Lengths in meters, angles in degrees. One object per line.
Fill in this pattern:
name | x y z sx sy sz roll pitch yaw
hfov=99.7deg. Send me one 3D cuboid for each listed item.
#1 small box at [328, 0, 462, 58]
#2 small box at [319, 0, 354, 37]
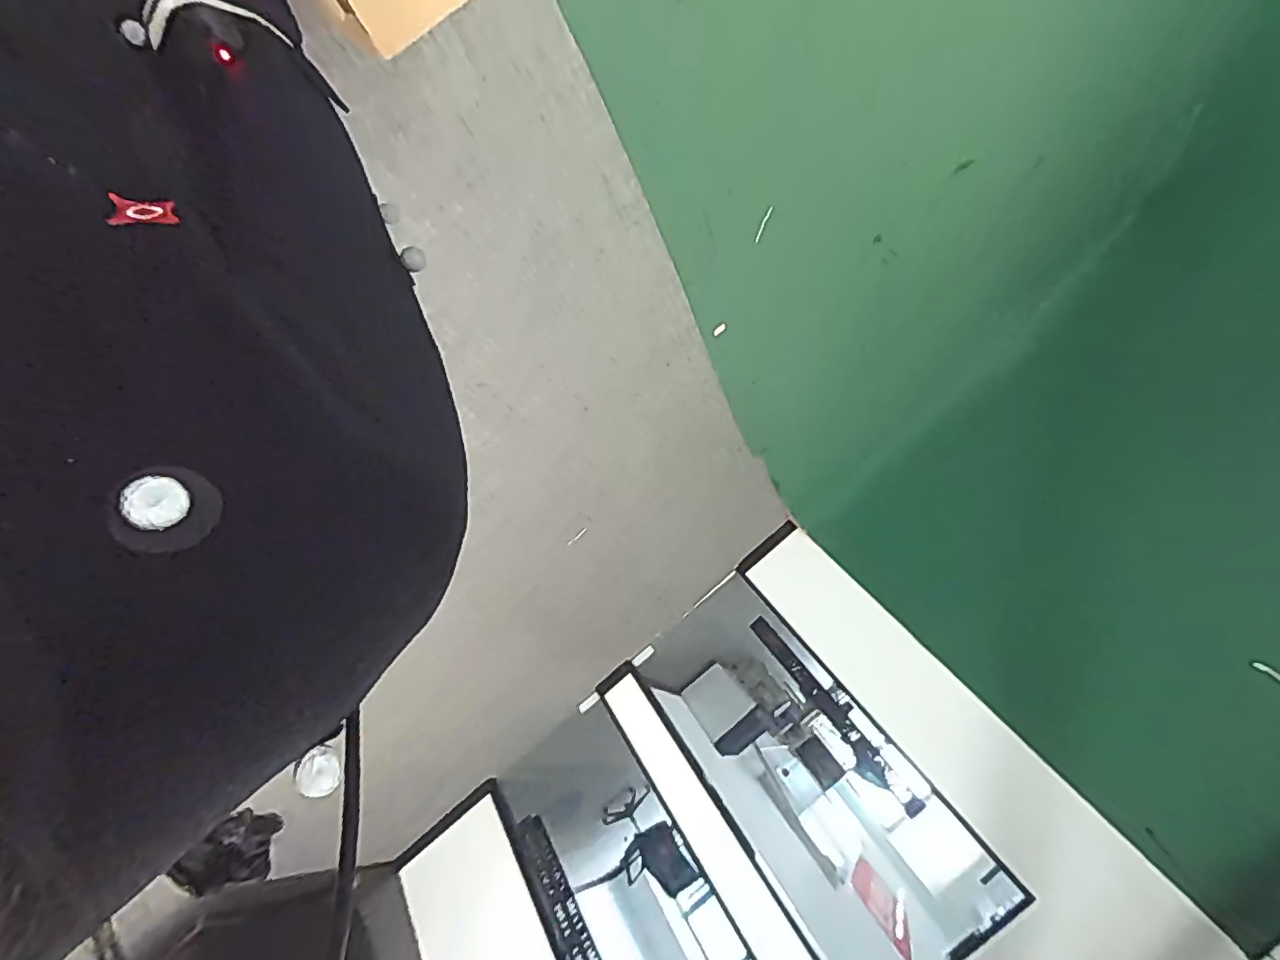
small box | -0.367 -0.739 0.748 0.179 0.176 0.168 -39 146 -2
small box | -0.458 -0.841 0.838 0.179 0.176 0.168 -39 145 0
